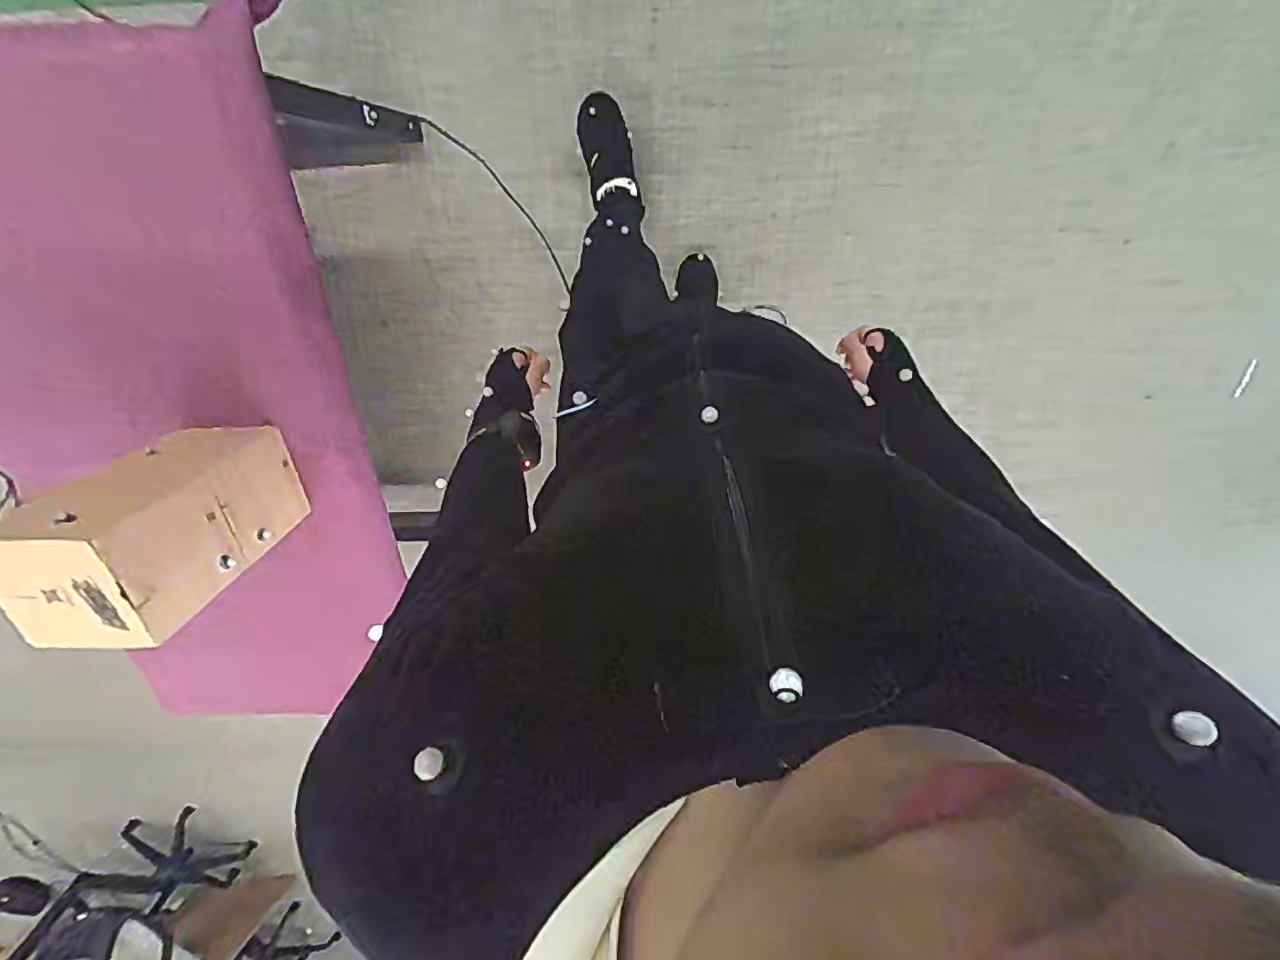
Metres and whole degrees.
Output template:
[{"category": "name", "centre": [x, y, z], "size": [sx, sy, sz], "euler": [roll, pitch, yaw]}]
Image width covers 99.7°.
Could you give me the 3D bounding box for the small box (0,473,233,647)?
[{"category": "small box", "centre": [-0.685, 0.098, 0.710], "size": [0.179, 0.176, 0.168], "euler": [0, 118, 4]}]
